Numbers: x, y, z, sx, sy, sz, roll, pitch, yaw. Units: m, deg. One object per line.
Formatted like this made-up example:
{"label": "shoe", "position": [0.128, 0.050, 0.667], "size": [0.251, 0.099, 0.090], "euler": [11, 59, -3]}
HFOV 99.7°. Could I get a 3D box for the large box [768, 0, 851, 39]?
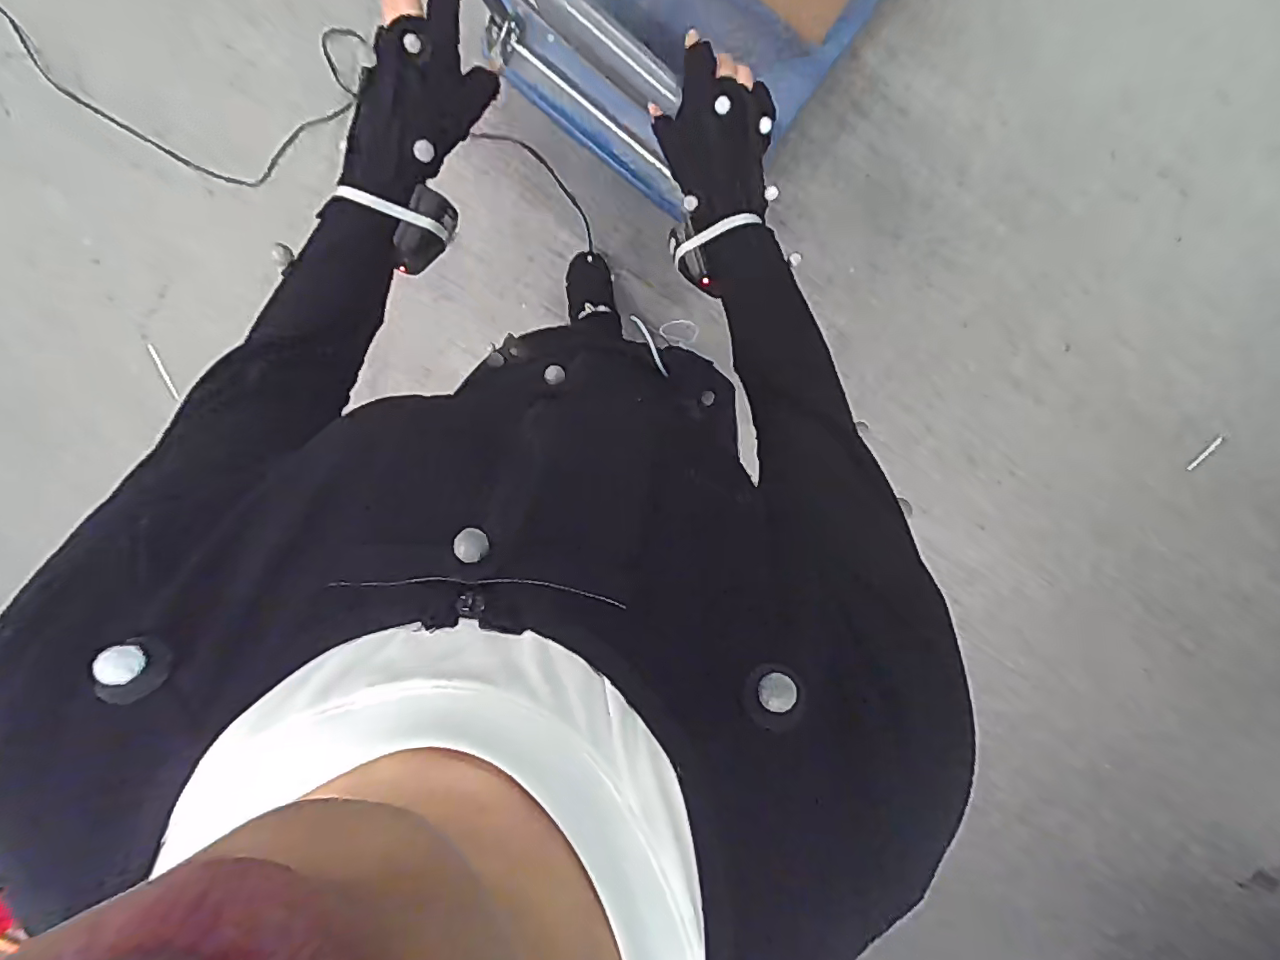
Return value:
{"label": "large box", "position": [0.254, -1.003, 0.816], "size": [0.408, 0.320, 0.320], "euler": [33, 106, -9]}
